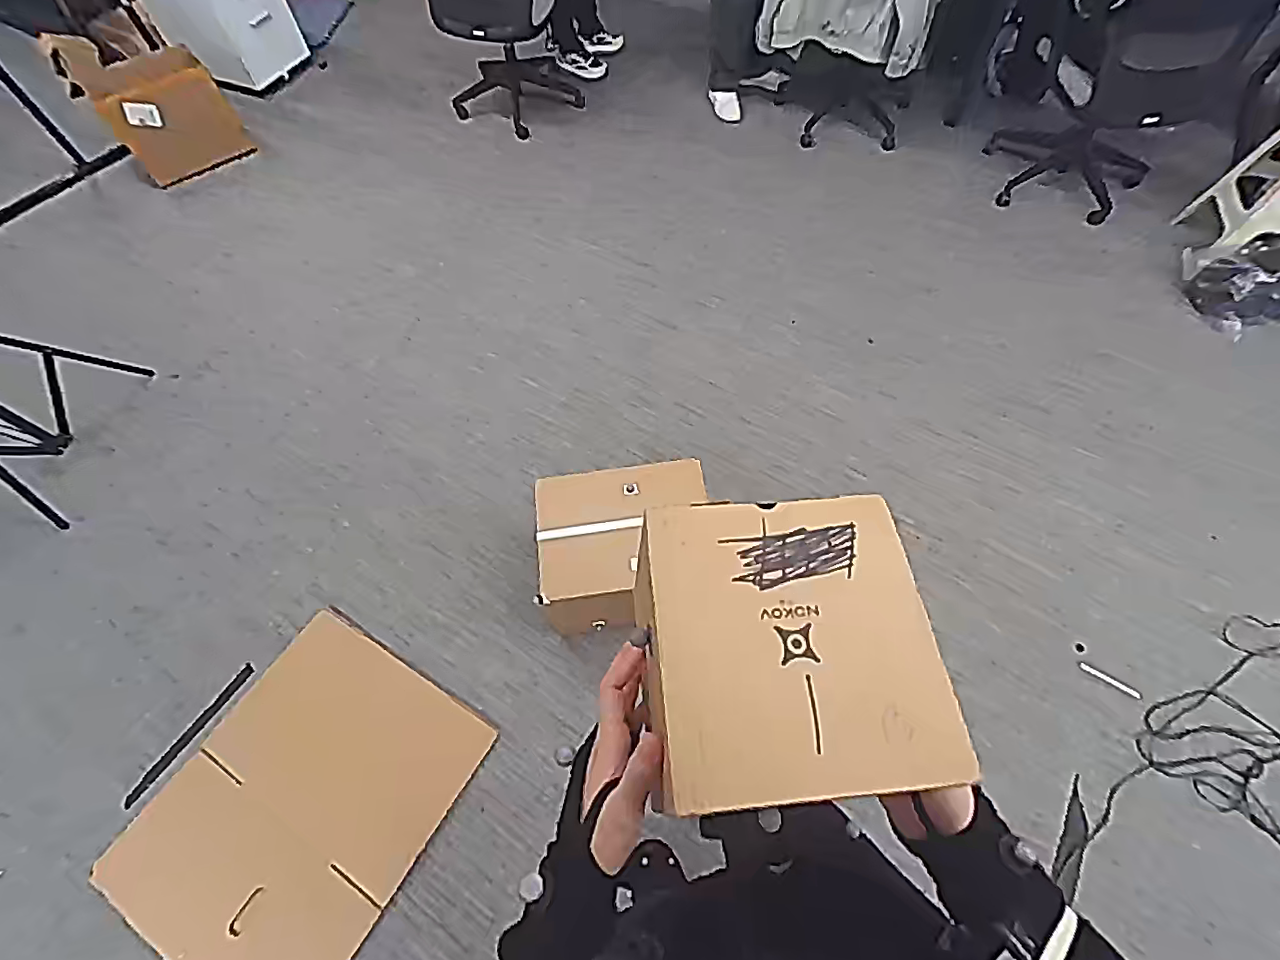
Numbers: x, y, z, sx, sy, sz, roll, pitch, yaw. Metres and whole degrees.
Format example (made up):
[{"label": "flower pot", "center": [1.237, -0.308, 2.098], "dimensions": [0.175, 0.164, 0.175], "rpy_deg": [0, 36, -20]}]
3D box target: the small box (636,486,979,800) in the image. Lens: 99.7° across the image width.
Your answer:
[{"label": "small box", "center": [0.087, 0.122, 0.388], "dimensions": [0.168, 0.176, 0.179], "rpy_deg": [-3, 60, -4]}]
